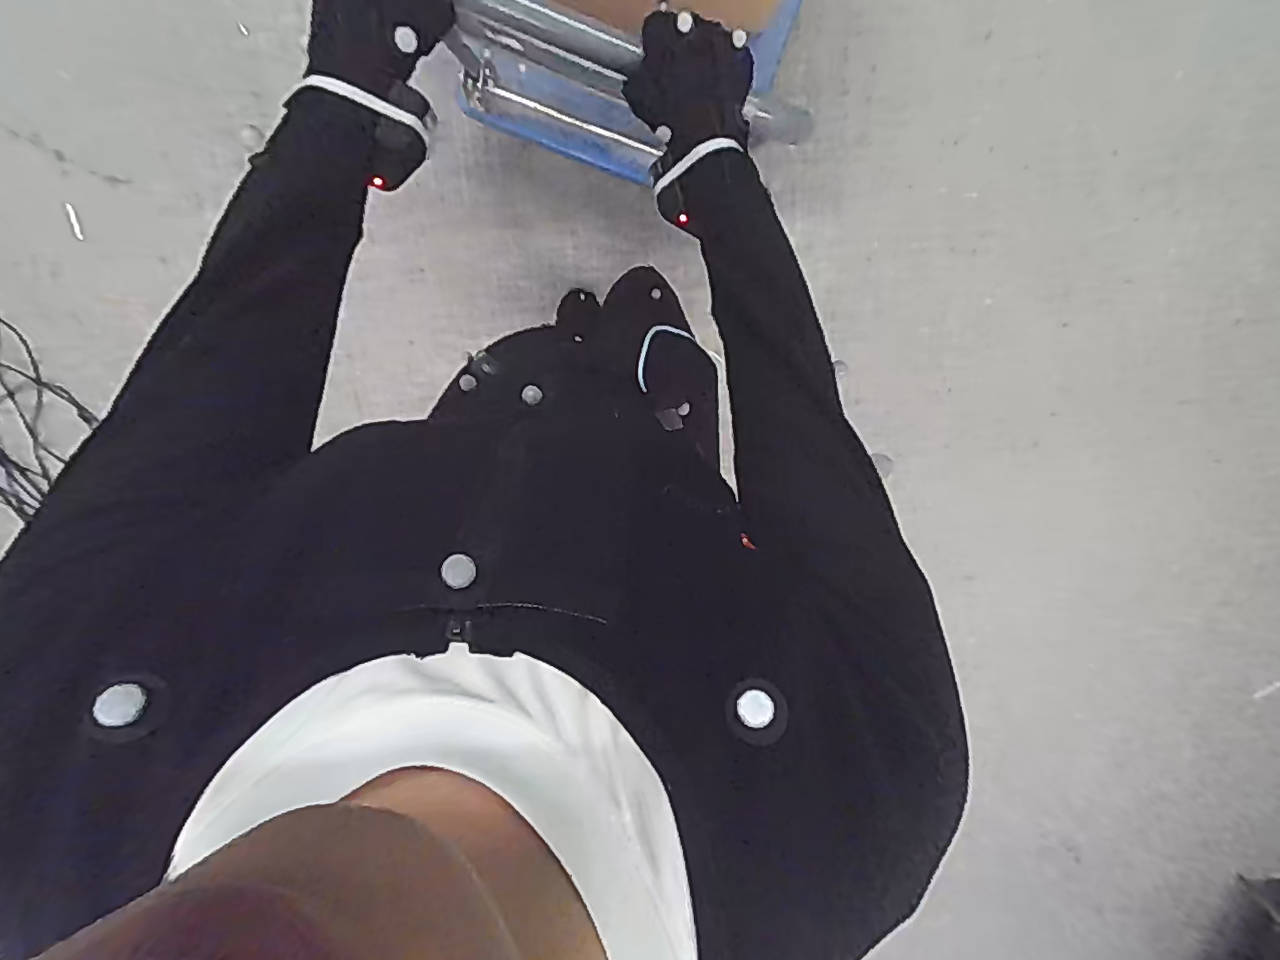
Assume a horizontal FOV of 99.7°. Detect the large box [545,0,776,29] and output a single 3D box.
[{"bbox_3d":[0.036,-0.935,0.820,0.408,0.320,0.320,-1,111,-1],"label":"large box"}]
